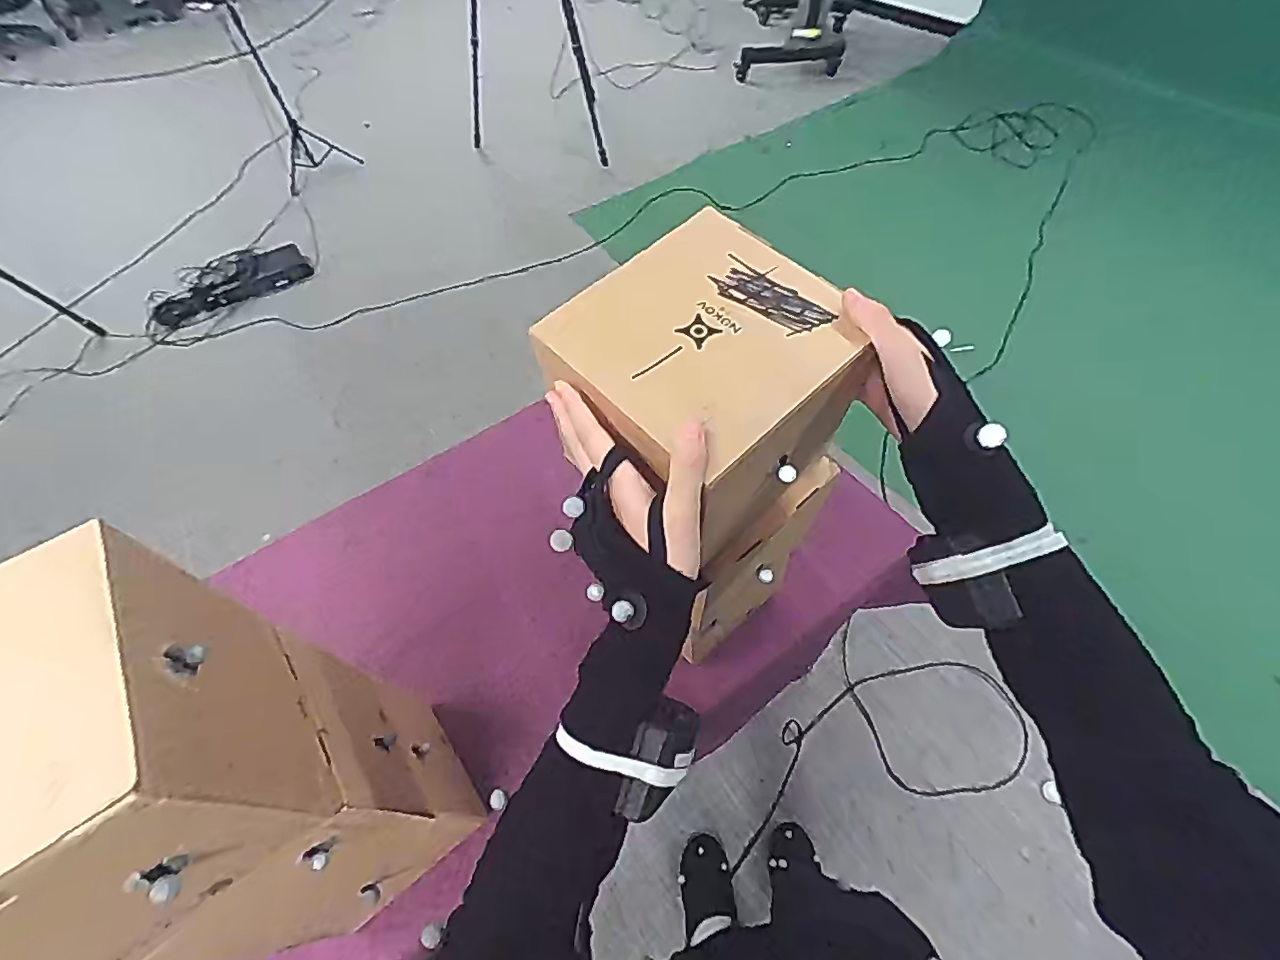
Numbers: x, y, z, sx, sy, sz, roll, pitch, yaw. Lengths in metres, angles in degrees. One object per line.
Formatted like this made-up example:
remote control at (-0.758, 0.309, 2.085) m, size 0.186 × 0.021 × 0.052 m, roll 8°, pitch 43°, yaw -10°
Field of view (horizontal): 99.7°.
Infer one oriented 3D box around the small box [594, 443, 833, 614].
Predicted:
small box at (0.061, 0.012, 0.564) m, size 0.168 × 0.176 × 0.179 m, roll -38°, pitch 67°, yaw -15°

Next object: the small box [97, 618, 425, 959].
small box at (-0.315, 0.255, 0.449) m, size 0.179 × 0.176 × 0.168 m, roll -34°, pitch 59°, yaw -17°

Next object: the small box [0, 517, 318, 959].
small box at (-0.328, 0.161, 0.317) m, size 0.168 × 0.176 × 0.179 m, roll -32°, pitch 58°, yaw -17°

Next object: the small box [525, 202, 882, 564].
small box at (0.041, -0.066, 0.420) m, size 0.179 × 0.176 × 0.168 m, roll -40°, pitch 68°, yaw -16°

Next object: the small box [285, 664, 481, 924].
small box at (-0.305, 0.339, 0.588) m, size 0.179 × 0.176 × 0.168 m, roll -35°, pitch 61°, yaw -17°
